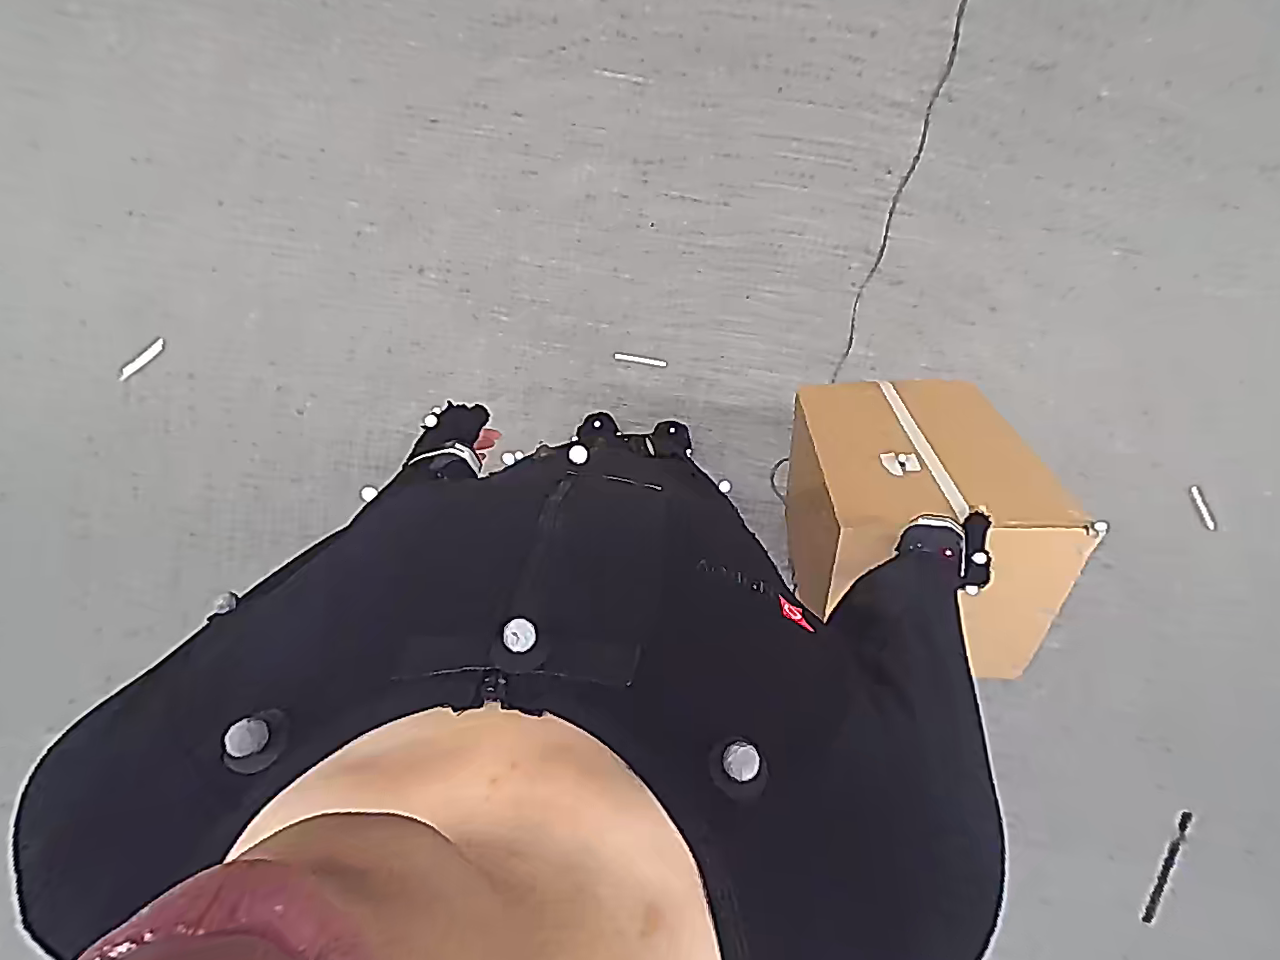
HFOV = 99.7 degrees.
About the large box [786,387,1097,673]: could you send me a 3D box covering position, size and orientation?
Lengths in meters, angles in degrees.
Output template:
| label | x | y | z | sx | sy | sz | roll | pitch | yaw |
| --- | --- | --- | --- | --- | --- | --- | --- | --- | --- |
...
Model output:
| label | x | y | z | sx | sy | sz | roll | pitch | yaw |
| --- | --- | --- | --- | --- | --- | --- | --- | --- | --- |
| large box | 0.448 | 0.070 | 0.939 | 0.320 | 0.408 | 0.320 | -2 | 127 | 7 |
